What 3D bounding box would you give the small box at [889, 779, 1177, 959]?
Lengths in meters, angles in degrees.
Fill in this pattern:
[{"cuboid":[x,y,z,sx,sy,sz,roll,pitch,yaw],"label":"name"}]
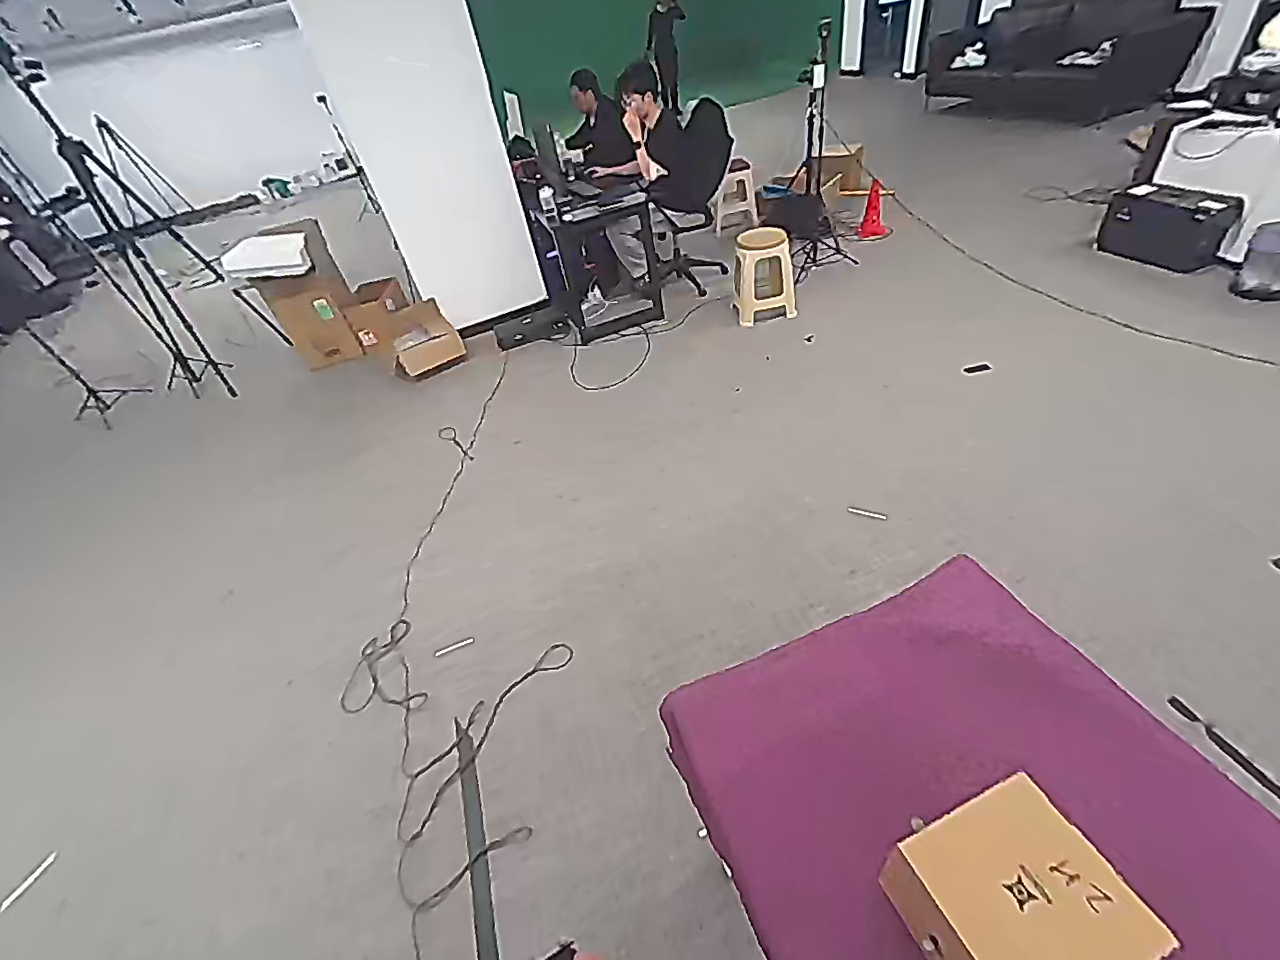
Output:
[{"cuboid":[0.396,0.471,0.587,0.179,0.176,0.168,-21,43,-10],"label":"small box"}]
